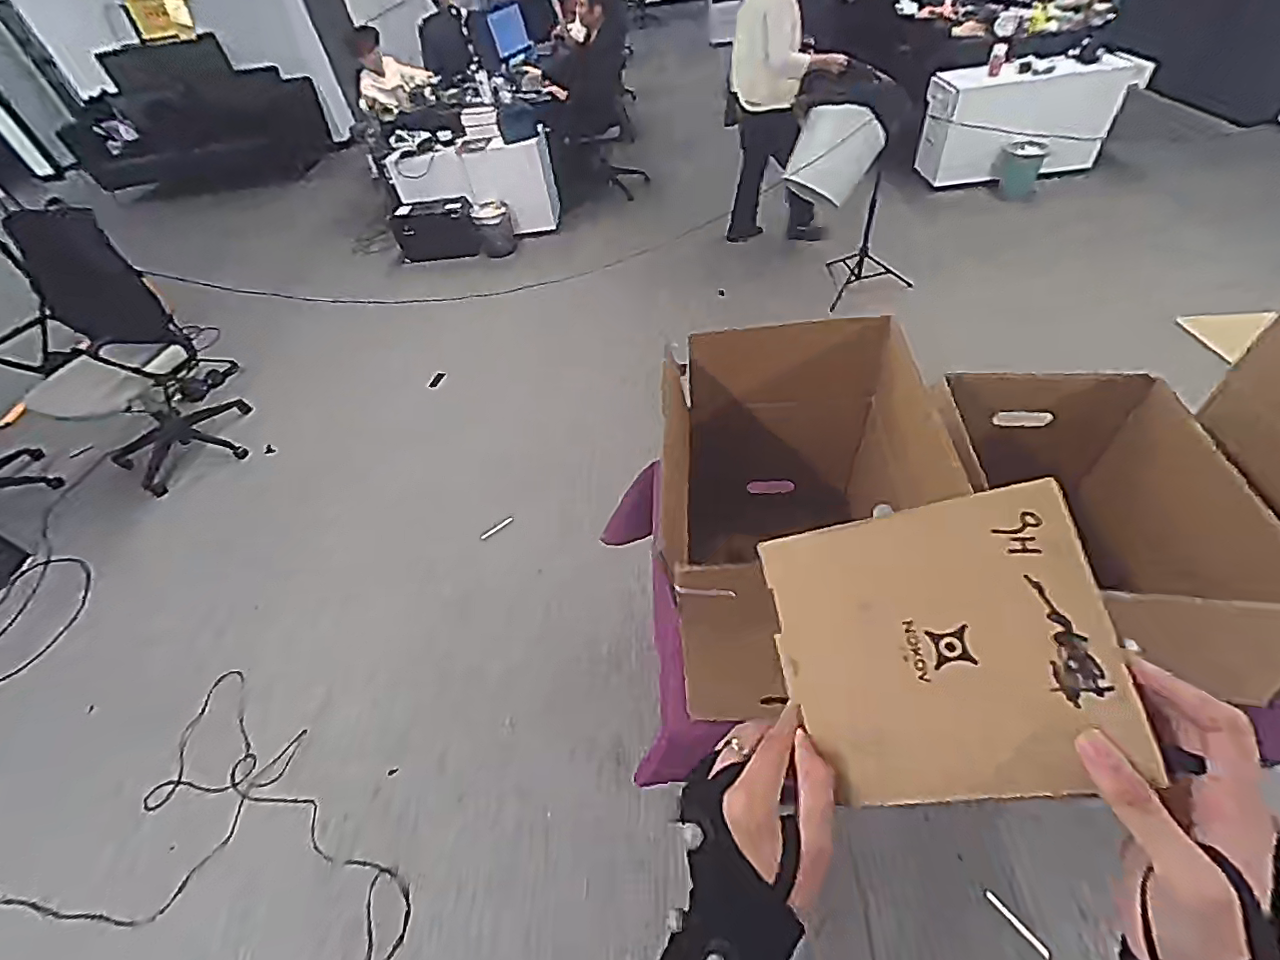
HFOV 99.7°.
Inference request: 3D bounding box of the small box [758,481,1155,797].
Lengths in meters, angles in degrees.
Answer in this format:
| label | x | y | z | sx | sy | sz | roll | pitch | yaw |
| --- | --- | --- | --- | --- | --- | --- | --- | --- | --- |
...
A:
| label | x | y | z | sx | sy | sz | roll | pitch | yaw |
| --- | --- | --- | --- | --- | --- | --- | --- | --- | --- |
| small box | 0.204 | 0.110 | 0.395 | 0.179 | 0.176 | 0.168 | -16 | 76 | 21 |
